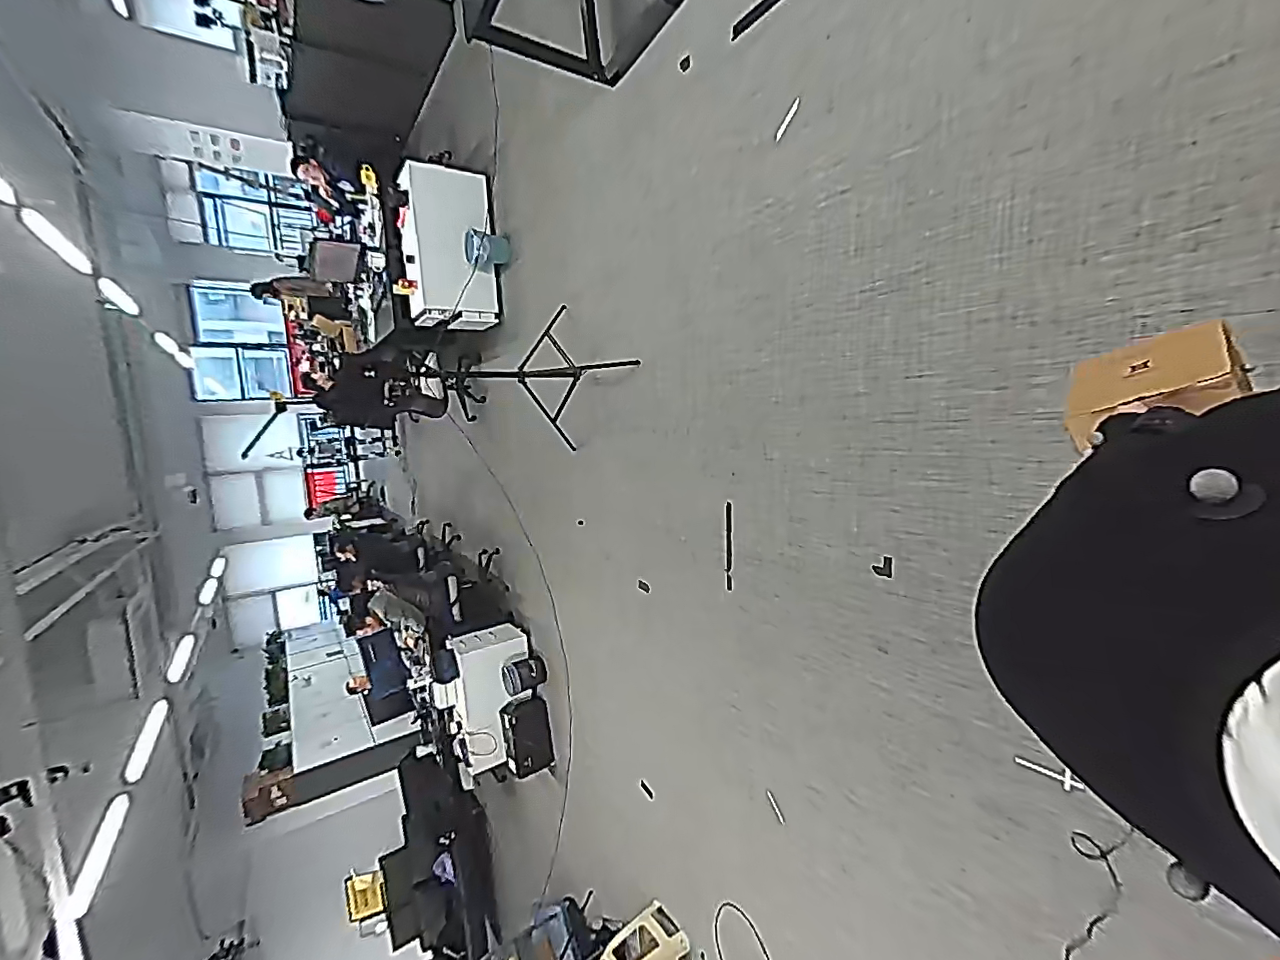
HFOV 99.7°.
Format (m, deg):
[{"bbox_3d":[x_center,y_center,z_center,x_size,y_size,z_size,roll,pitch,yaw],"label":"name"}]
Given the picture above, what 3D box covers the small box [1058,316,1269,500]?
[{"bbox_3d":[0.719,-0.087,0.750,0.176,0.179,0.168,53,143,-13],"label":"small box"}]
